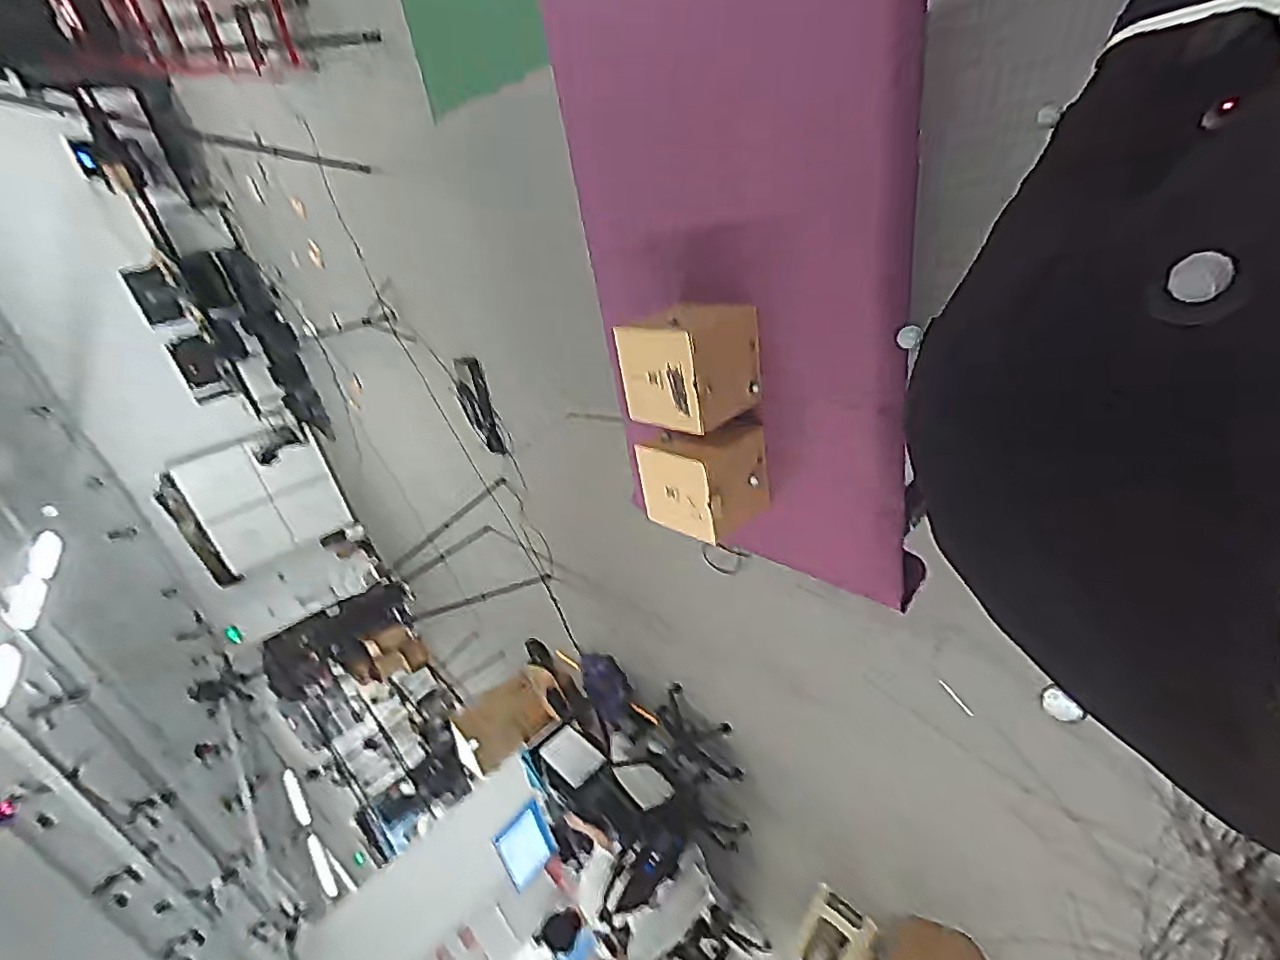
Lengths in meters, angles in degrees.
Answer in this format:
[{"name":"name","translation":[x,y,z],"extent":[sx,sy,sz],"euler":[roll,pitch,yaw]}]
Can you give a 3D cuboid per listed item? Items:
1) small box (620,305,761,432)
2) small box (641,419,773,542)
[{"name":"small box","translation":[0.096,-0.200,0.932],"extent":[0.179,0.176,0.168],"euler":[19,129,45]},{"name":"small box","translation":[0.130,-0.012,1.028],"extent":[0.179,0.176,0.168],"euler":[18,128,44]}]
